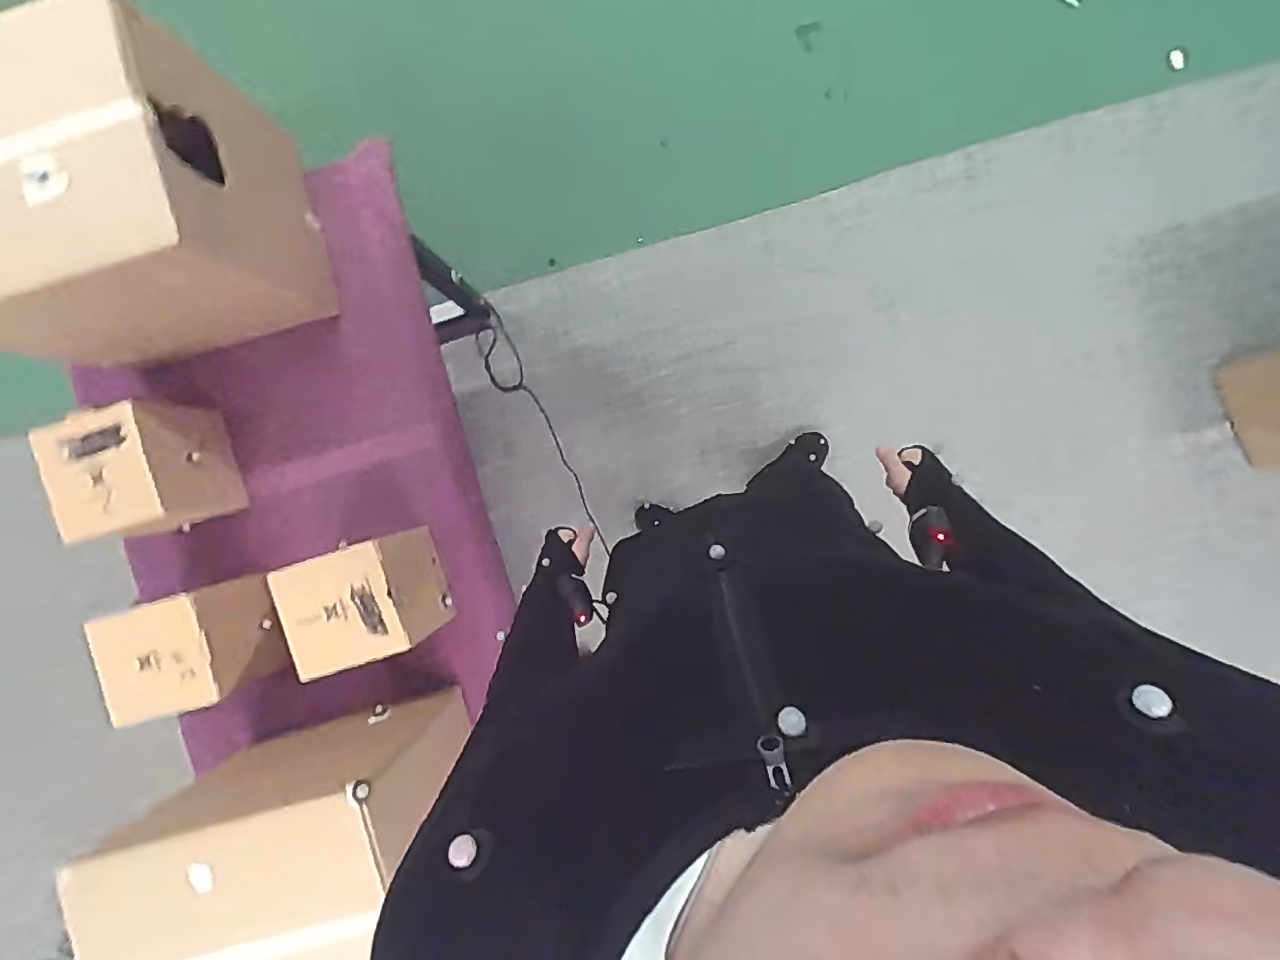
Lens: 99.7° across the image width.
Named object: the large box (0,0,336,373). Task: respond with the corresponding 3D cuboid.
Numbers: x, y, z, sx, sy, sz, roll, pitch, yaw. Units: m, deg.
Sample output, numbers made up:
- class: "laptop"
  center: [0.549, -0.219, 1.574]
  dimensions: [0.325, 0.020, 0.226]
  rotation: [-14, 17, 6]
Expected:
- class: "large box"
  center: [-0.750, -0.377, 0.780]
  dimensions: [0.408, 0.320, 0.320]
  rotation: [-15, 93, 3]
